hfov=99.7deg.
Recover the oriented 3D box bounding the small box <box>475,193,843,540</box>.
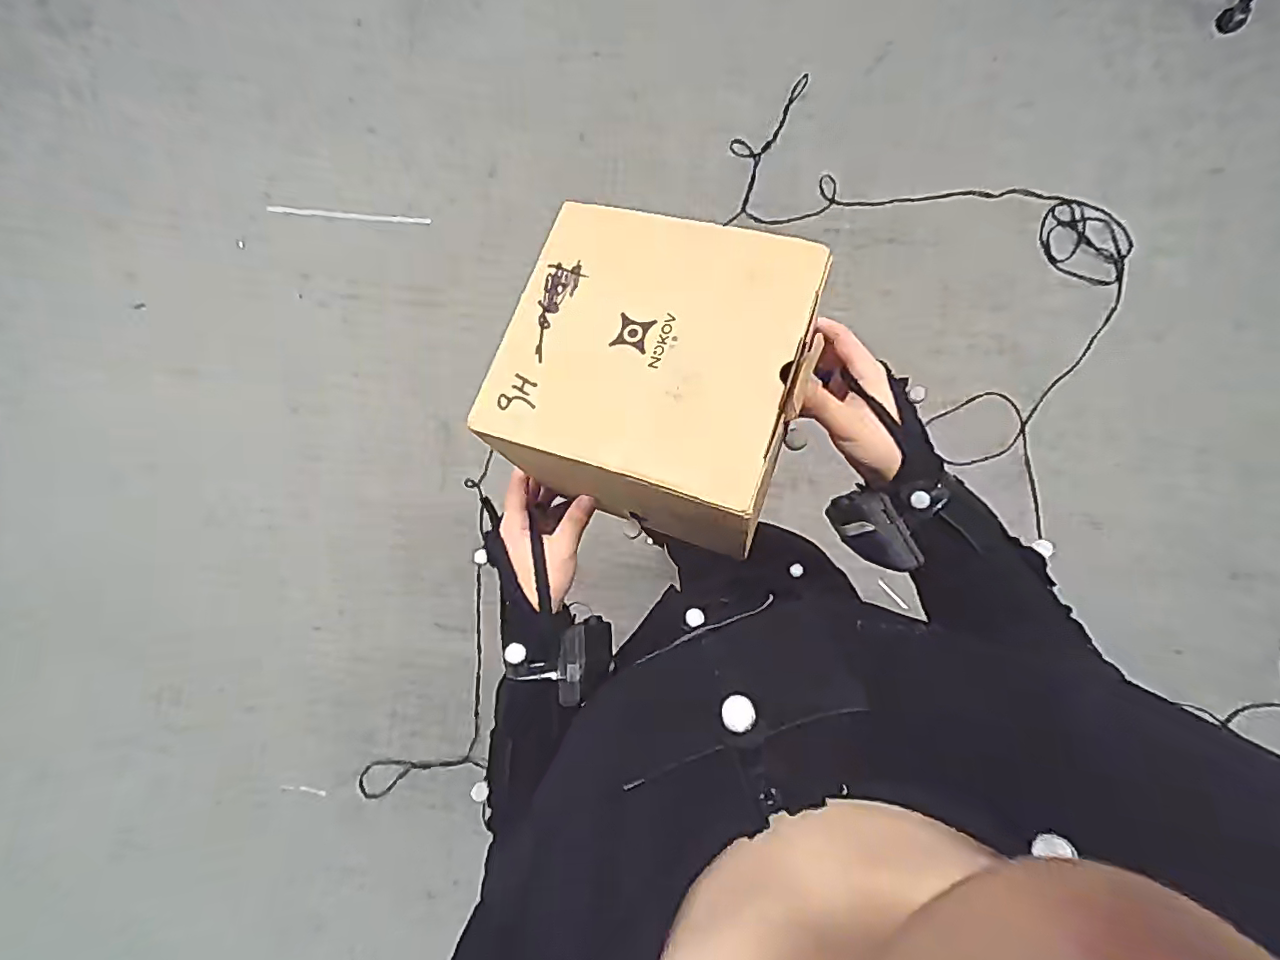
[{"bbox_3d":[0.021,-0.064,0.393,0.179,0.176,0.168,19,78,13],"label":"small box"}]
